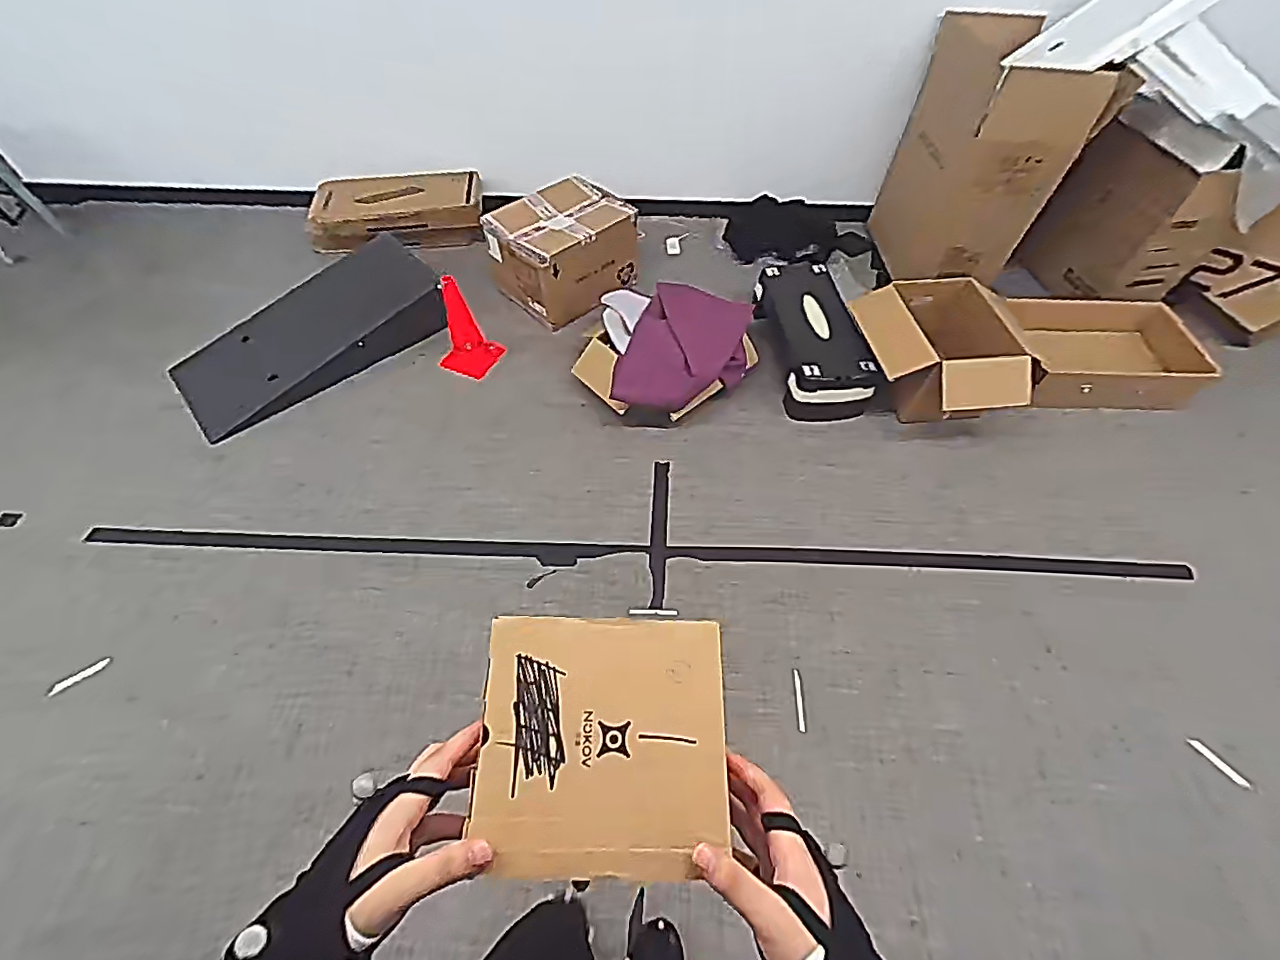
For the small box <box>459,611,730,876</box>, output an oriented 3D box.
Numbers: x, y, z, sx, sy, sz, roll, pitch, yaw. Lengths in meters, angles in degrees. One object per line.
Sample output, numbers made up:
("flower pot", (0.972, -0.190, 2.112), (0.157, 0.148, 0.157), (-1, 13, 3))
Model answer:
("small box", (-0.028, 0.210, 0.447), (0.179, 0.176, 0.168), (1, 64, -1))
